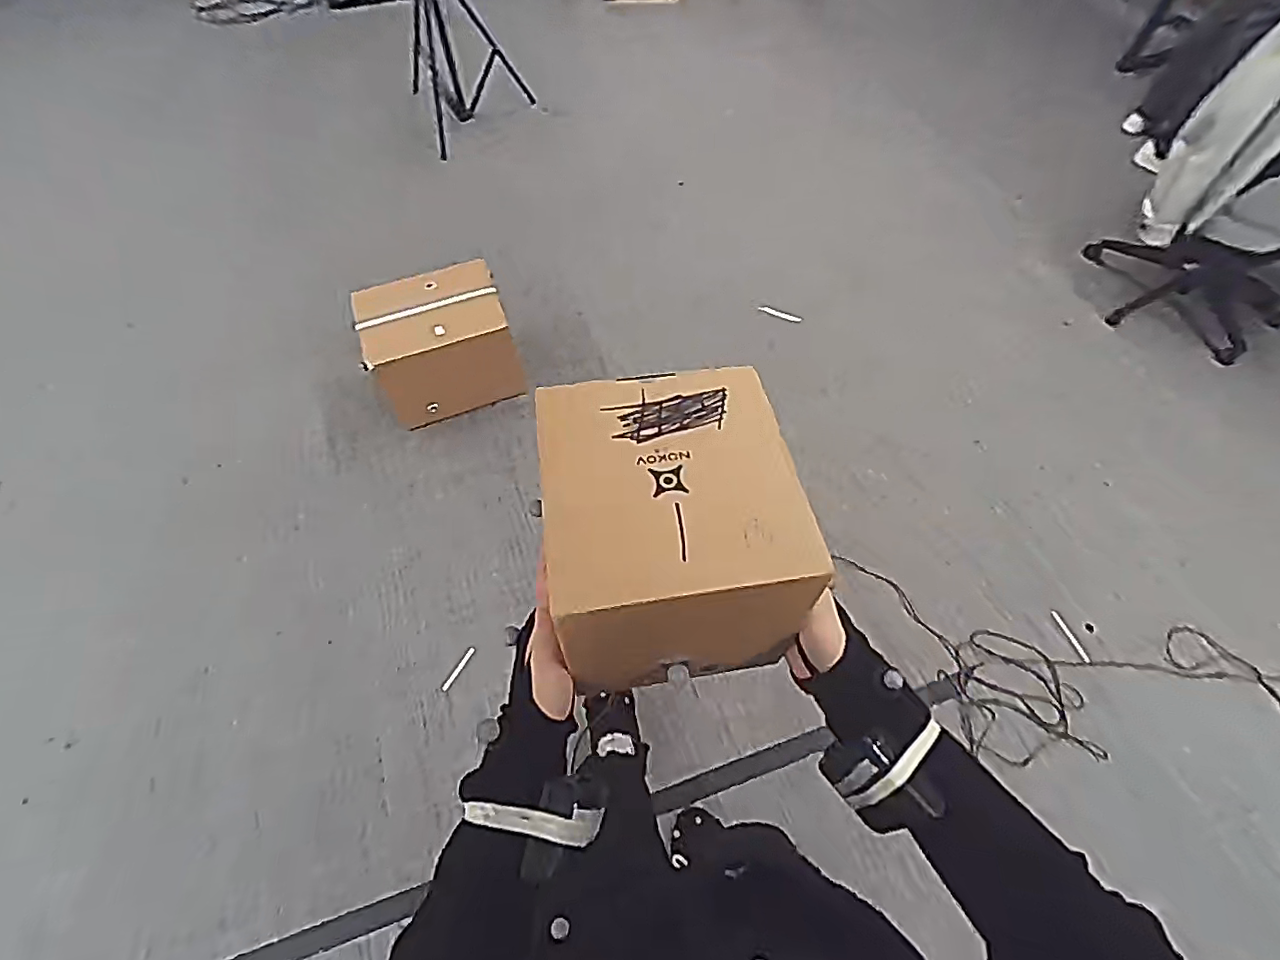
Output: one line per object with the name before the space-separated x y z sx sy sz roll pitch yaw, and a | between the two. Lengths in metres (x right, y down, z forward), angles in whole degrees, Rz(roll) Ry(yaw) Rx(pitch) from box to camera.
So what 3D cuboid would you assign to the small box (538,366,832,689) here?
small box | 0.018 0.040 0.416 0.168 0.176 0.179 -8 55 -5
